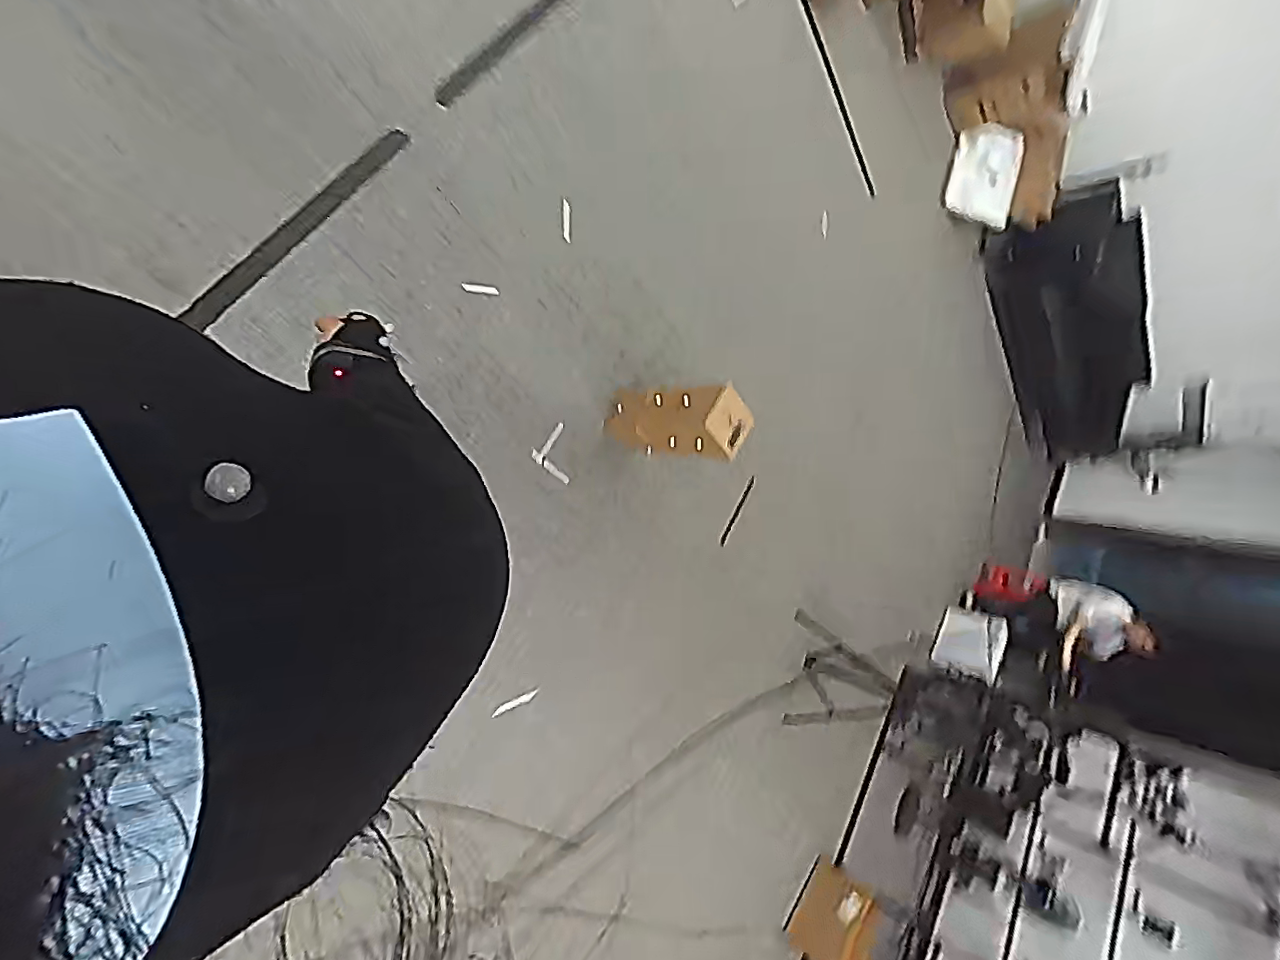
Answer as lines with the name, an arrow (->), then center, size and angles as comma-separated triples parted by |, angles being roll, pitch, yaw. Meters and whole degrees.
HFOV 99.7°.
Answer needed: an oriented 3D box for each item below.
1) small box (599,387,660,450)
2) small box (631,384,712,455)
small box -> -0.011, -0.220, 1.935 | 0.179, 0.176, 0.168 | 31, 74, -40
small box -> 0.105, -0.207, 1.822 | 0.179, 0.176, 0.168 | 46, 65, -36
